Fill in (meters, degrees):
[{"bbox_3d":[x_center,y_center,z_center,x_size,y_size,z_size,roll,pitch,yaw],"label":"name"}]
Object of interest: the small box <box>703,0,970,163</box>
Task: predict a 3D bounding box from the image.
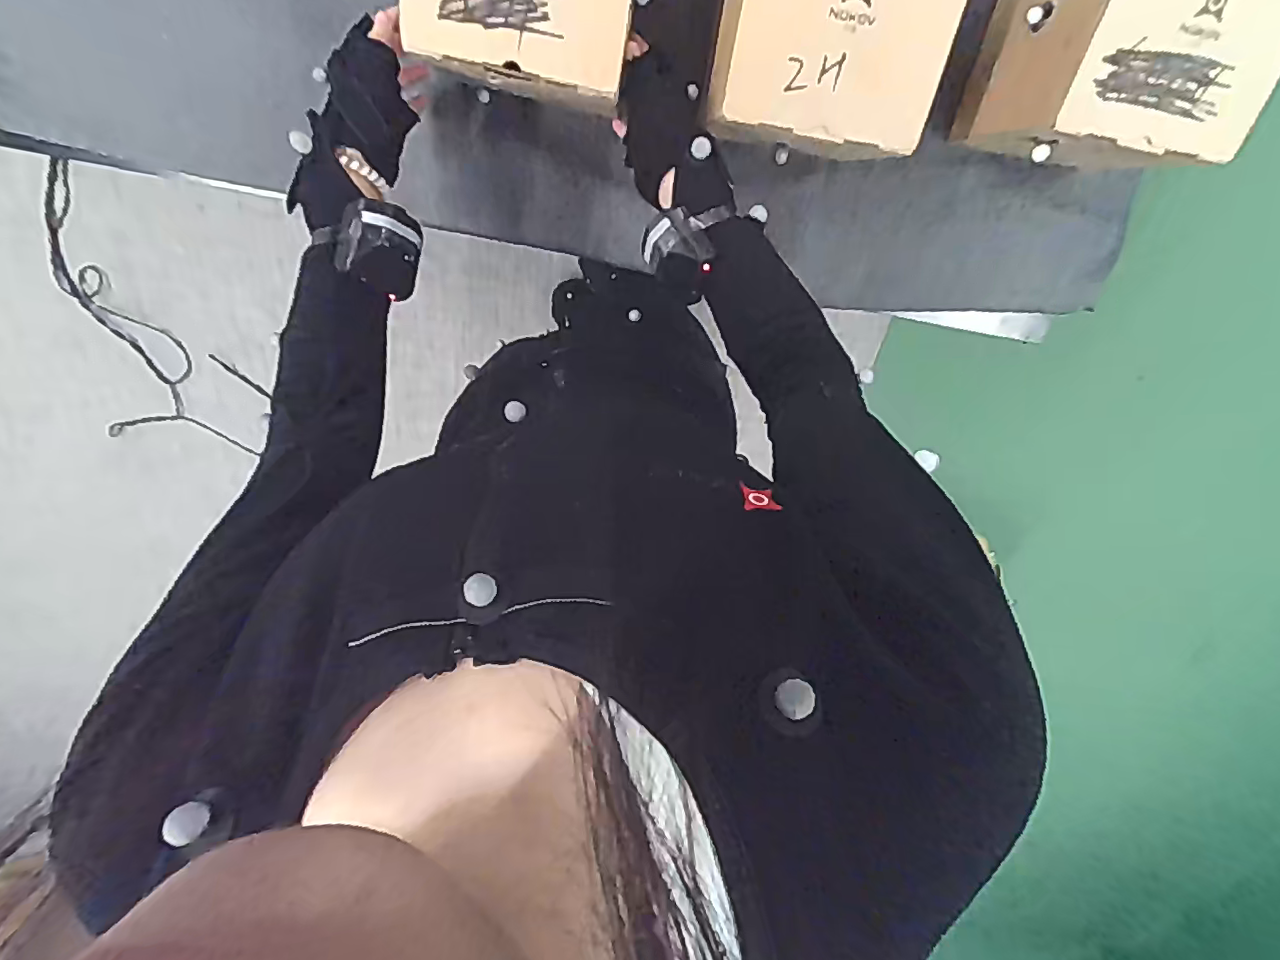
[{"bbox_3d":[0.157,-0.390,0.469,0.168,0.176,0.179,7,119,-6],"label":"small box"}]
